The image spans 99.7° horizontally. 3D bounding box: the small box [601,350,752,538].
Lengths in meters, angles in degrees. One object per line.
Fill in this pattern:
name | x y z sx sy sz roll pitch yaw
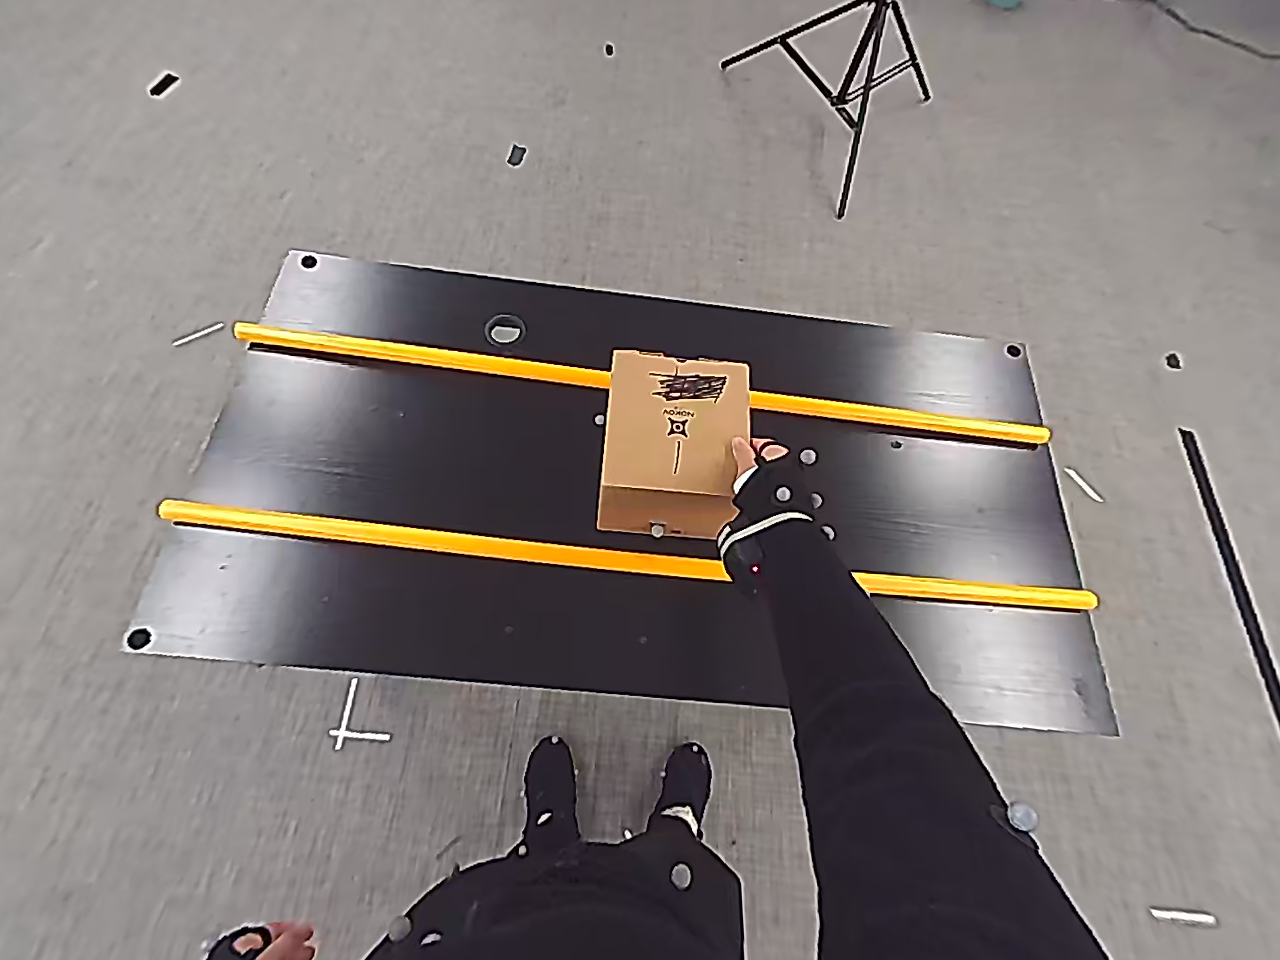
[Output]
small box | 0.040 -0.039 0.691 0.168 0.176 0.179 5 68 -3
